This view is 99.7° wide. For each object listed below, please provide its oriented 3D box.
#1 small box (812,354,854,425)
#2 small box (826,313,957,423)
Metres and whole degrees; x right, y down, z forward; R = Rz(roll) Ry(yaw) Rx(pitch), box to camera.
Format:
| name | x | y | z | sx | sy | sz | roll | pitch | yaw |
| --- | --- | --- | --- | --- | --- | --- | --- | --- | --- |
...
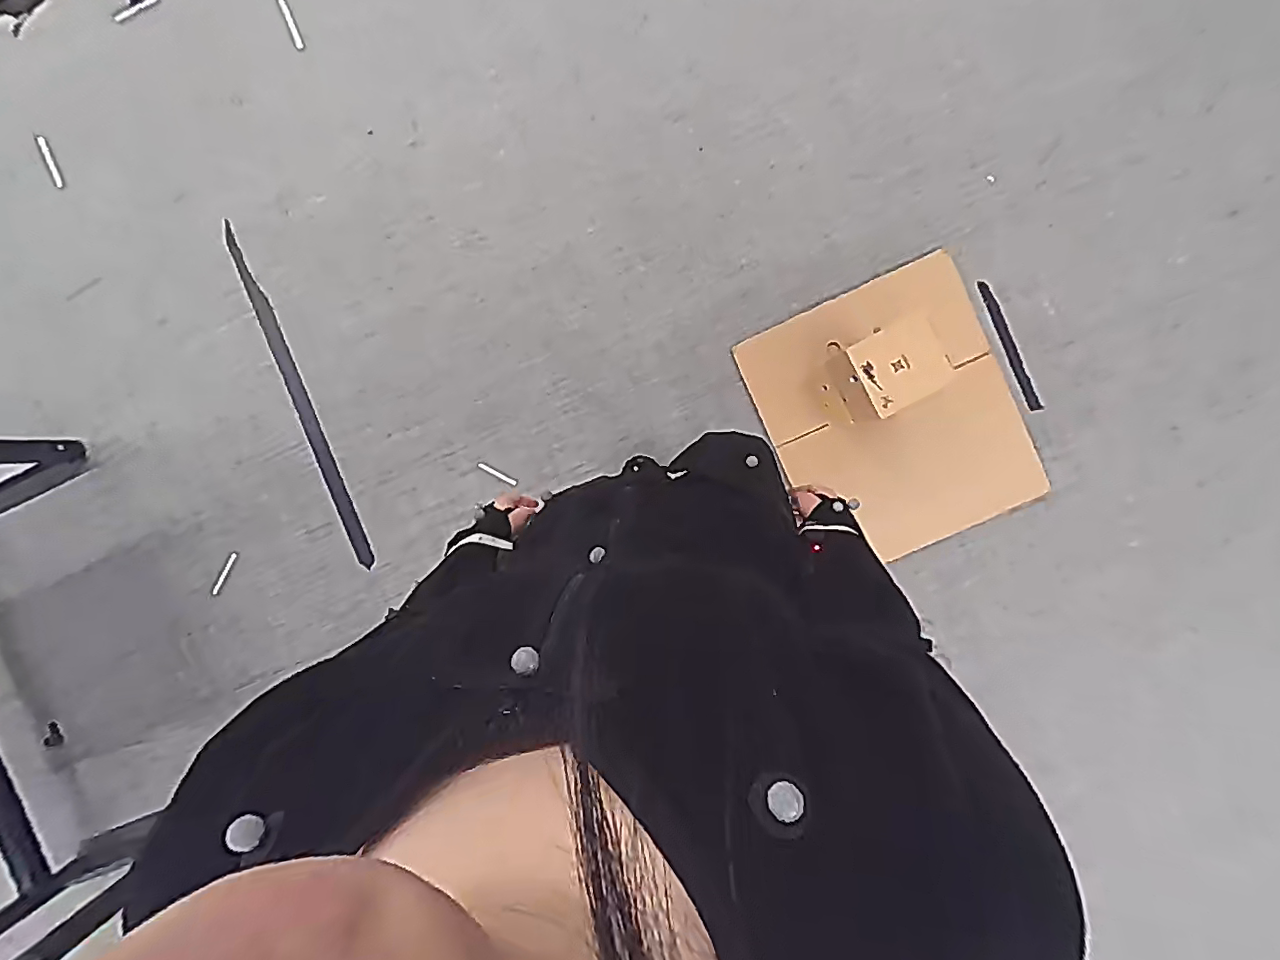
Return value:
| name | x | y | z | sx | sy | sz | roll | pitch | yaw |
| --- | --- | --- | --- | --- | --- | --- | --- | --- | --- |
| small box | 0.546 | -0.244 | 1.345 | 0.179 | 0.176 | 0.168 | -26 | 92 | 5 |
| small box | 0.538 | -0.236 | 1.181 | 0.179 | 0.176 | 0.168 | -27 | 91 | 4 |
